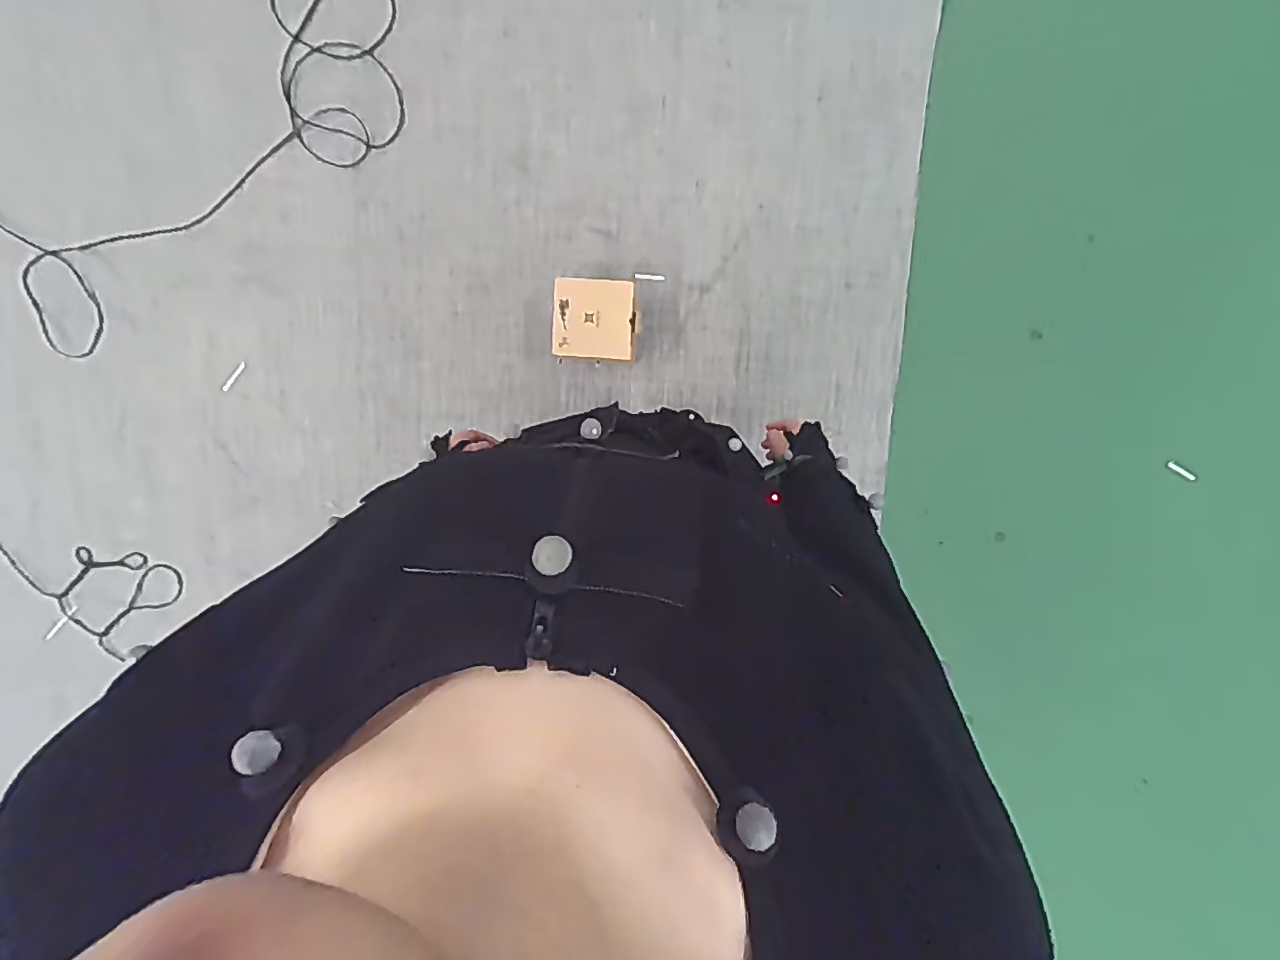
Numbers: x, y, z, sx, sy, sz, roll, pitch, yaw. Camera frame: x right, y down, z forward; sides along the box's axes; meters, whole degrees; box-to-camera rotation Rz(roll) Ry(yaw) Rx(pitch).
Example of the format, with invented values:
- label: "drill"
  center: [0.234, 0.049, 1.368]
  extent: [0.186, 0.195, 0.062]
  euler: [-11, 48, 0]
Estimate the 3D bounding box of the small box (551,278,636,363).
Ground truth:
- label: "small box"
  center: [-0.102, -0.360, 1.245]
  extent: [0.179, 0.176, 0.168]
  euler: [3, 100, 2]
